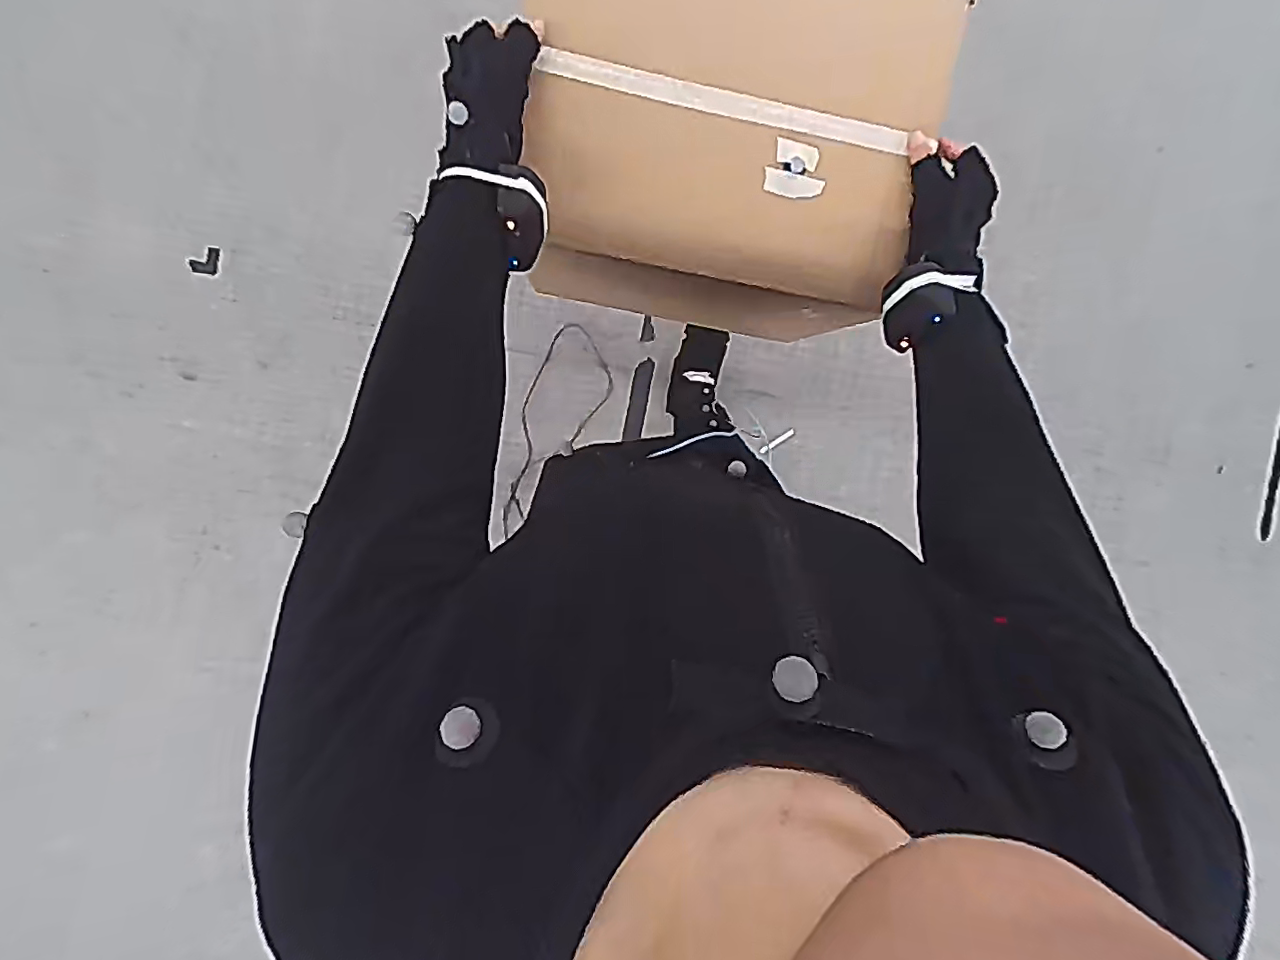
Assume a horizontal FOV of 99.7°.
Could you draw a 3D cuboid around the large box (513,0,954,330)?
[{"bbox_3d":[0.077,-0.389,0.671,0.408,0.320,0.320,9,99,-7],"label":"large box"}]
